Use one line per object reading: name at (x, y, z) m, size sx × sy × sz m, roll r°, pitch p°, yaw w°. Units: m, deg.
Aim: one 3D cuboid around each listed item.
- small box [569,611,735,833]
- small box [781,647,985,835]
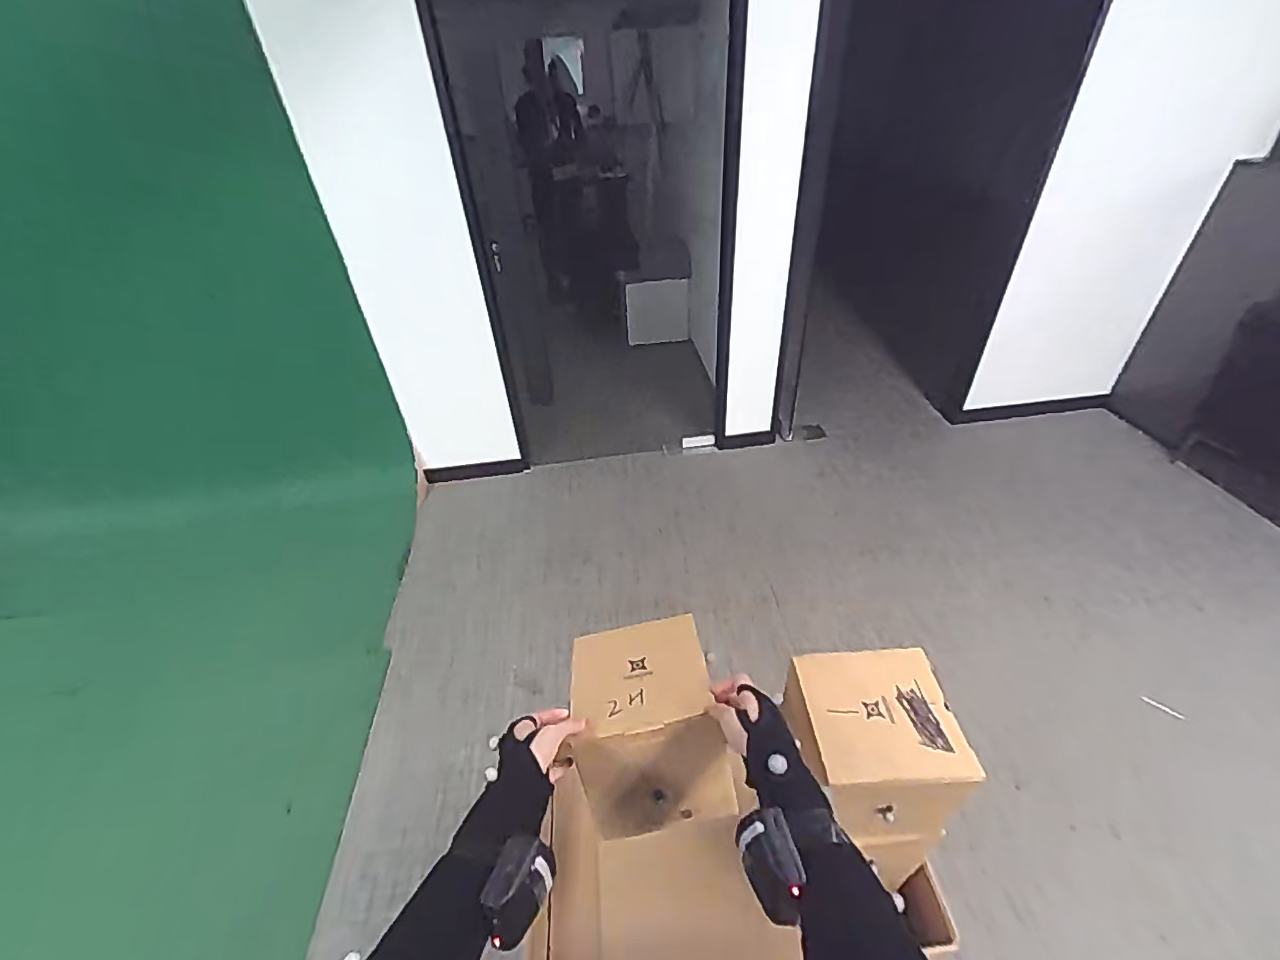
small box at (0.015, 0.298, 0.683) m, size 0.168 × 0.176 × 0.179 m, roll -13°, pitch 24°, yaw 1°
small box at (0.293, 0.337, 0.700) m, size 0.179 × 0.176 × 0.168 m, roll -4°, pitch 38°, yaw 1°
